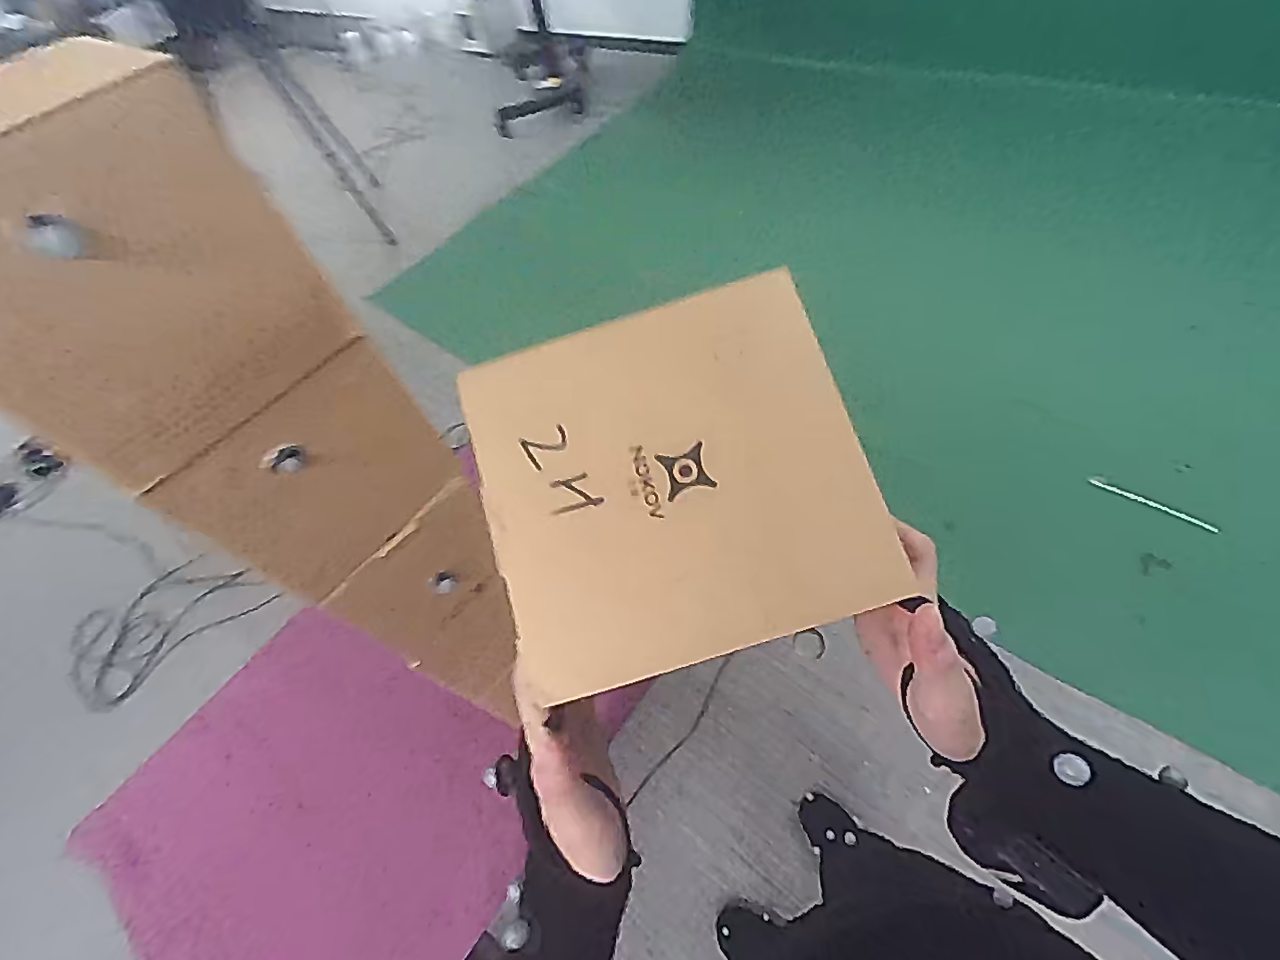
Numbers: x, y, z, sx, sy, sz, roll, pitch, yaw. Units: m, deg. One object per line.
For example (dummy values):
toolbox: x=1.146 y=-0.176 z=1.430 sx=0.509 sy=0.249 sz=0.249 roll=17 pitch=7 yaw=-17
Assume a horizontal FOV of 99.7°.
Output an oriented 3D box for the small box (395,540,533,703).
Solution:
small box: x=-0.236 y=0.163 z=0.723 sx=0.168 sy=0.176 sz=0.179 roll=32 pitch=68 yaw=30

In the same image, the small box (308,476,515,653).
small box: x=-0.269 y=0.066 z=0.595 sx=0.179 sy=0.176 sz=0.168 roll=32 pitch=67 yaw=29

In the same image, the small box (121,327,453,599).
small box: x=-0.300 y=-0.029 z=0.465 sx=0.168 sy=0.176 sz=0.179 roll=30 pitch=65 yaw=29

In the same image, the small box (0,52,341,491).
small box: x=-0.327 y=-0.128 z=0.339 sx=0.168 sy=0.176 sz=0.179 roll=31 pitch=67 yaw=29

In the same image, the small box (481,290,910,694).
small box: x=0.027 y=0.019 z=0.339 sx=0.179 sy=0.176 sz=0.168 roll=-17 pitch=74 yaw=3
